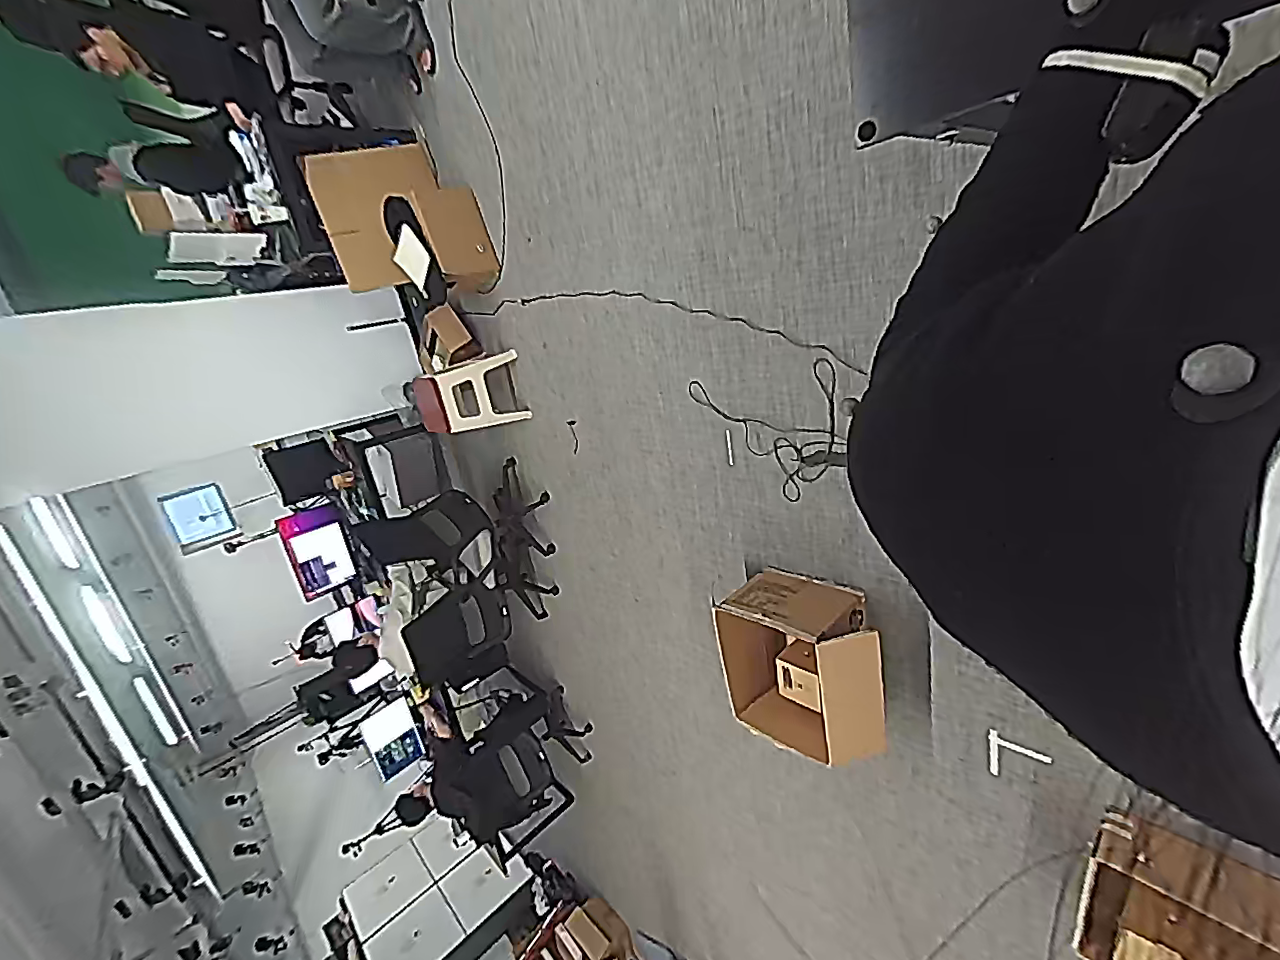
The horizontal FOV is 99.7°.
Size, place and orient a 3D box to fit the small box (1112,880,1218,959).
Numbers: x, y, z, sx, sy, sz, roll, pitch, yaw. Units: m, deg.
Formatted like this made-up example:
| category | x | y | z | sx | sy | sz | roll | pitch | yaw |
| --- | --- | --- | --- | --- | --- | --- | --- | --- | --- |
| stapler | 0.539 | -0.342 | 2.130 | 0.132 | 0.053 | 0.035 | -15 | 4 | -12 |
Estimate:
| category | x | y | z | sx | sy | sz | roll | pitch | yaw |
| --- | --- | --- | --- | --- | --- | --- | --- | --- | --- |
| small box | 1.321 | 1.172 | 1.363 | 0.168 | 0.176 | 0.179 | 15 | 119 | 44 |
